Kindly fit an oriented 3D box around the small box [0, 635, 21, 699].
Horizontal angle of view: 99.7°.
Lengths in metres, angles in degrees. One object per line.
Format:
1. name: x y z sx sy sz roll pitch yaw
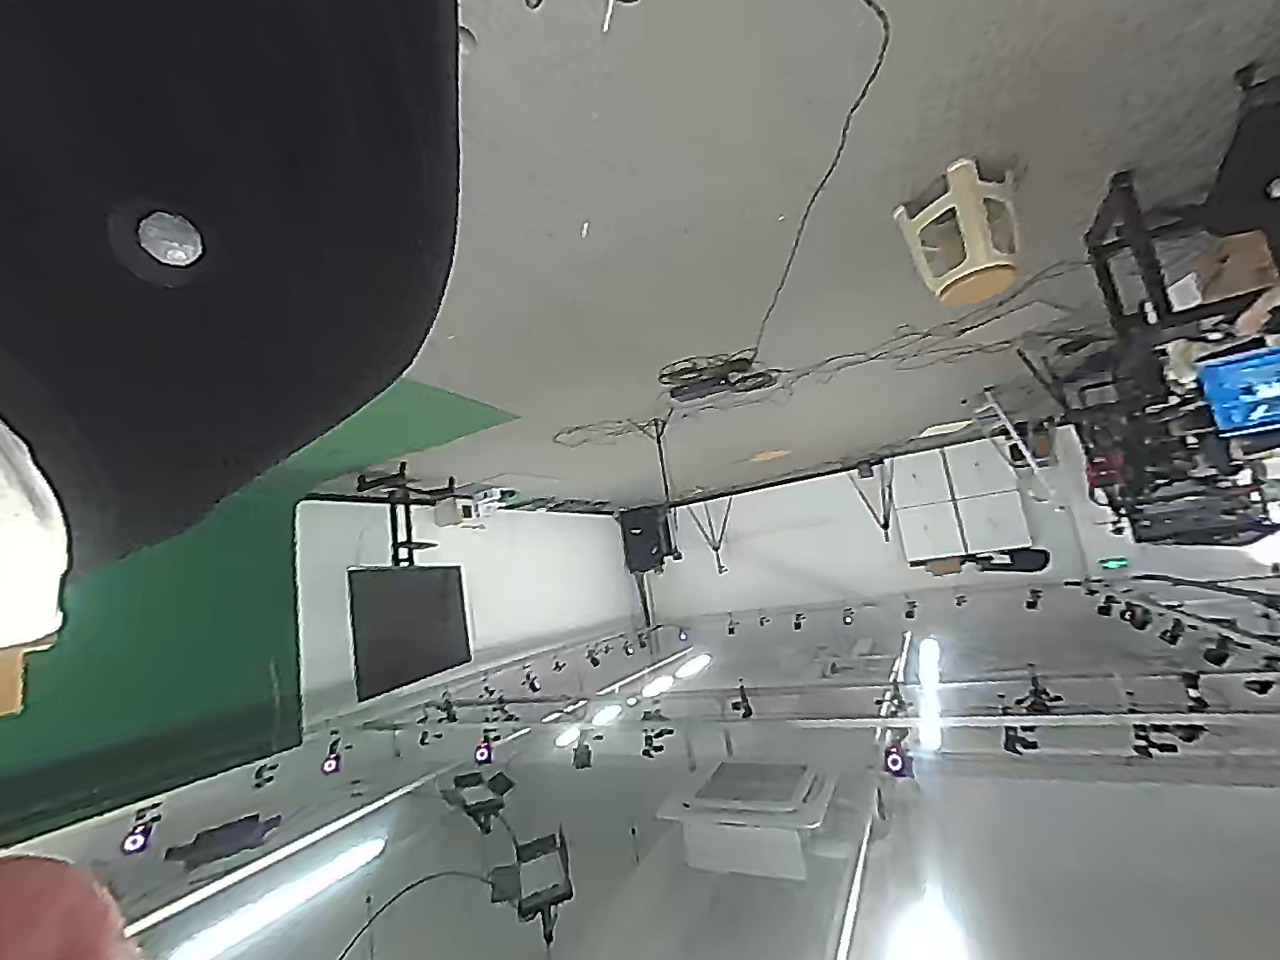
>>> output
1. small box: -1.814 0.516 1.442 0.168 0.176 0.179 -15 169 21
